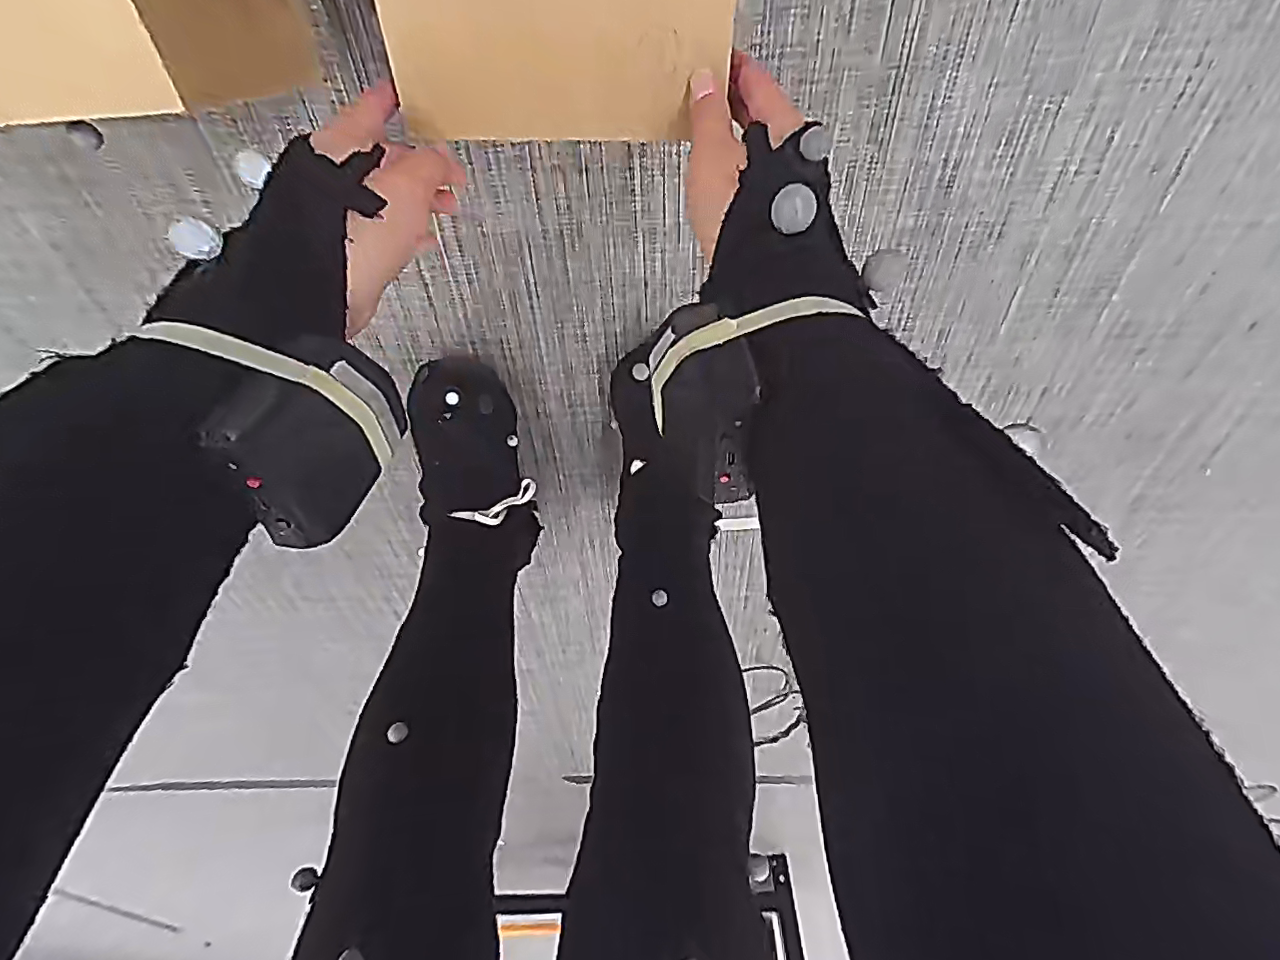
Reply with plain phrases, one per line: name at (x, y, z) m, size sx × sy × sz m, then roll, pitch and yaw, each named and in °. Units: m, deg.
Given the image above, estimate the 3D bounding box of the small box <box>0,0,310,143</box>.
small box at (-0.313, -0.292, 0.287) m, size 0.179 × 0.176 × 0.168 m, roll -2°, pitch 131°, yaw 2°

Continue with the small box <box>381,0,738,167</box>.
small box at (-0.036, -0.287, 0.289) m, size 0.168 × 0.176 × 0.179 m, roll 0°, pitch 132°, yaw -1°
